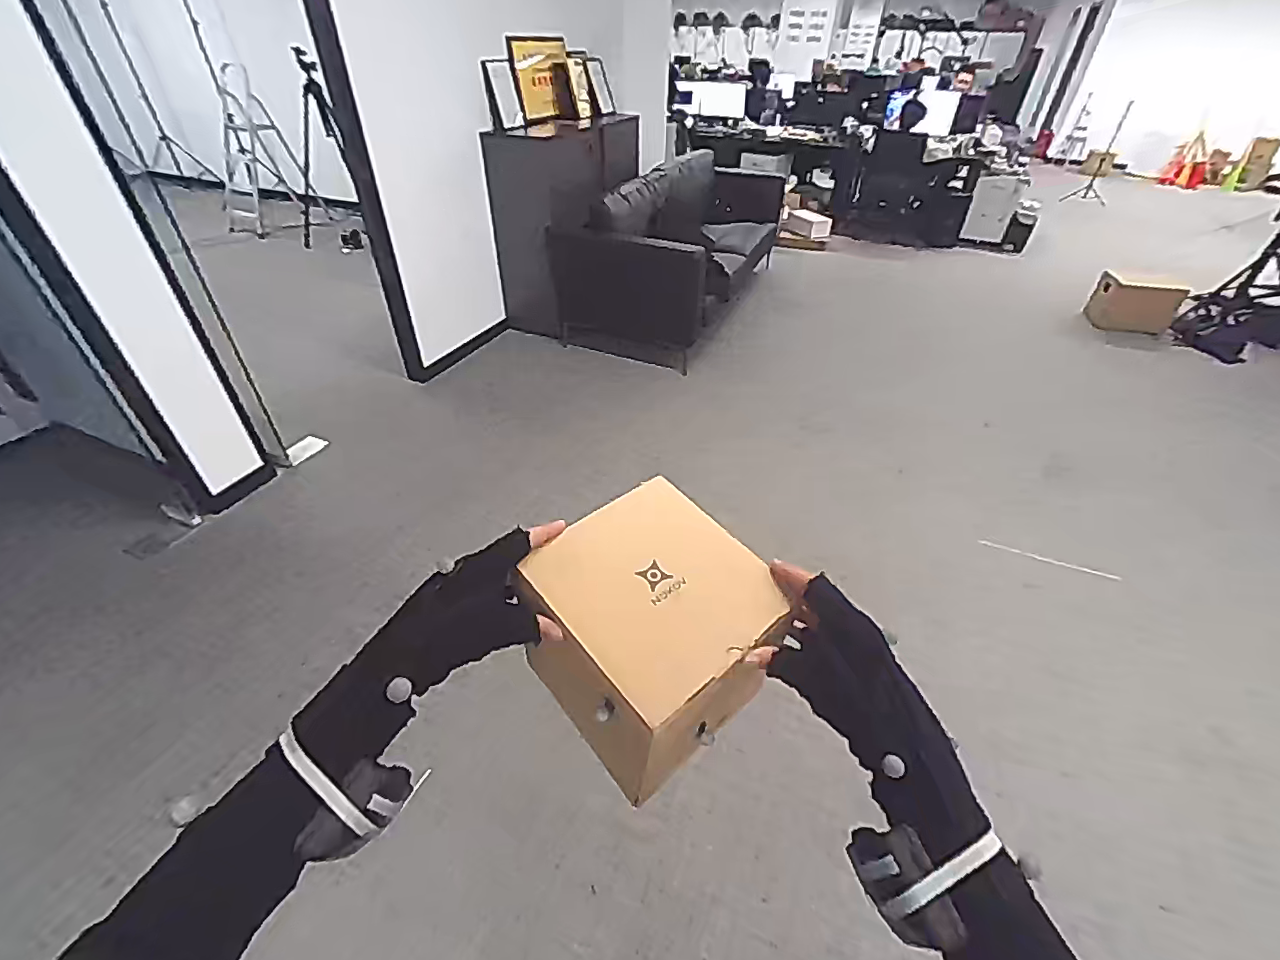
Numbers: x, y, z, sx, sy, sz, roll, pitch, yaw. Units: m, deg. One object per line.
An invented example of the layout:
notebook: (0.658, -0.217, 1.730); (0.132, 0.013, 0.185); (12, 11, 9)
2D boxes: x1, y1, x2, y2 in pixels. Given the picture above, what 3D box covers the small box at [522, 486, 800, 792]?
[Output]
small box: (0.008, 0.143, 0.499); (0.168, 0.176, 0.179); (-28, 55, -30)
